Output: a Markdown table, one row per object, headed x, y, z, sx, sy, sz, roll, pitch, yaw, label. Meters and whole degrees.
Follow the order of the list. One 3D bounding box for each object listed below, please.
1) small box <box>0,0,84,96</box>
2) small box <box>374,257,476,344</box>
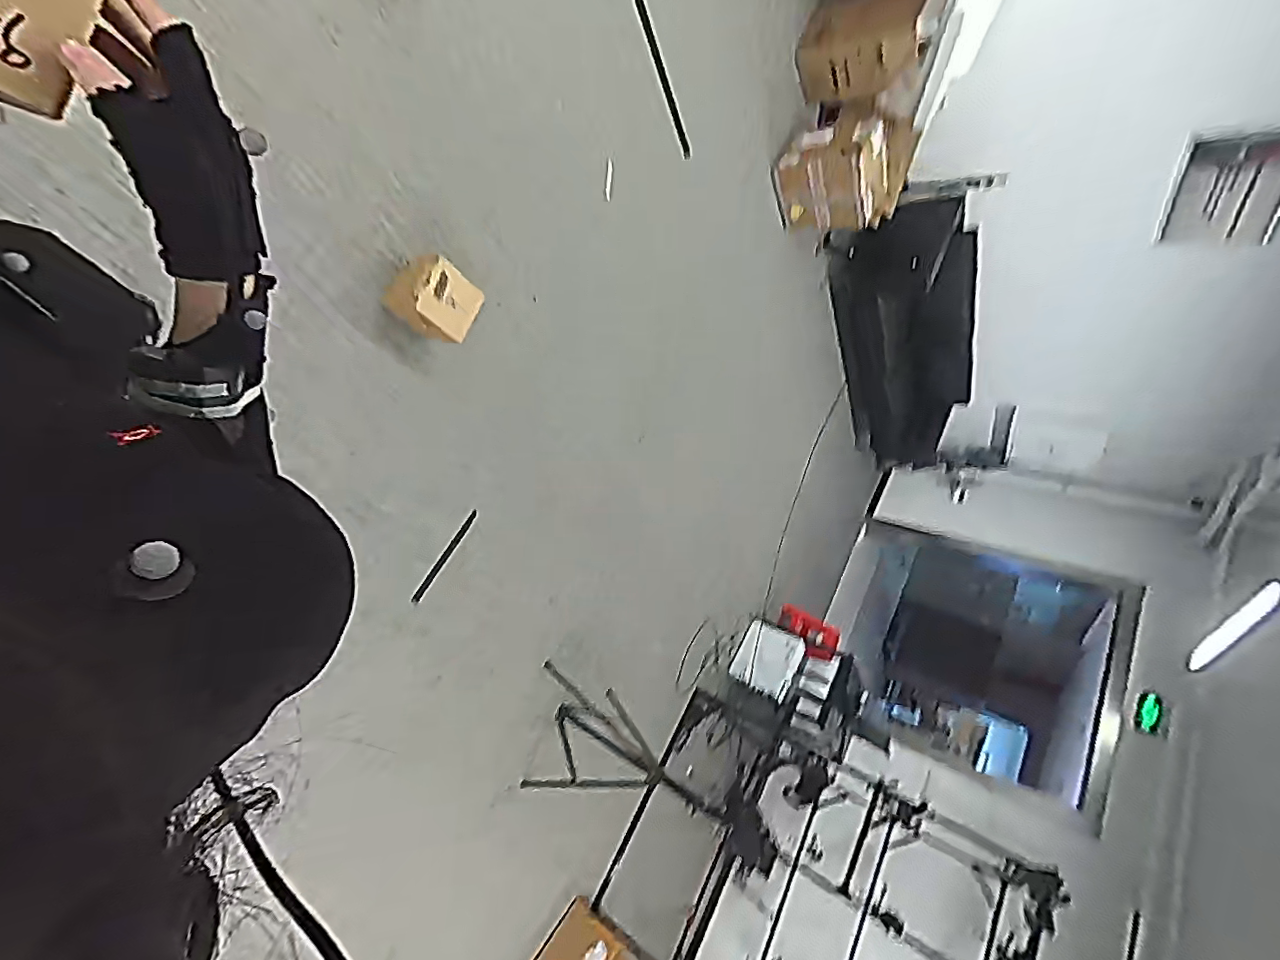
| x | y | z | sx | sy | sz | roll | pitch | yaw | label |
| --- | --- | --- | --- | --- | --- | --- | --- | --- | --- |
| -0.379 | -0.323 | 0.244 | 0.168 | 0.176 | 0.179 | 14 | 102 | -63 | small box |
| -0.612 | -0.507 | 1.536 | 0.179 | 0.176 | 0.168 | 41 | 69 | -54 | small box |
